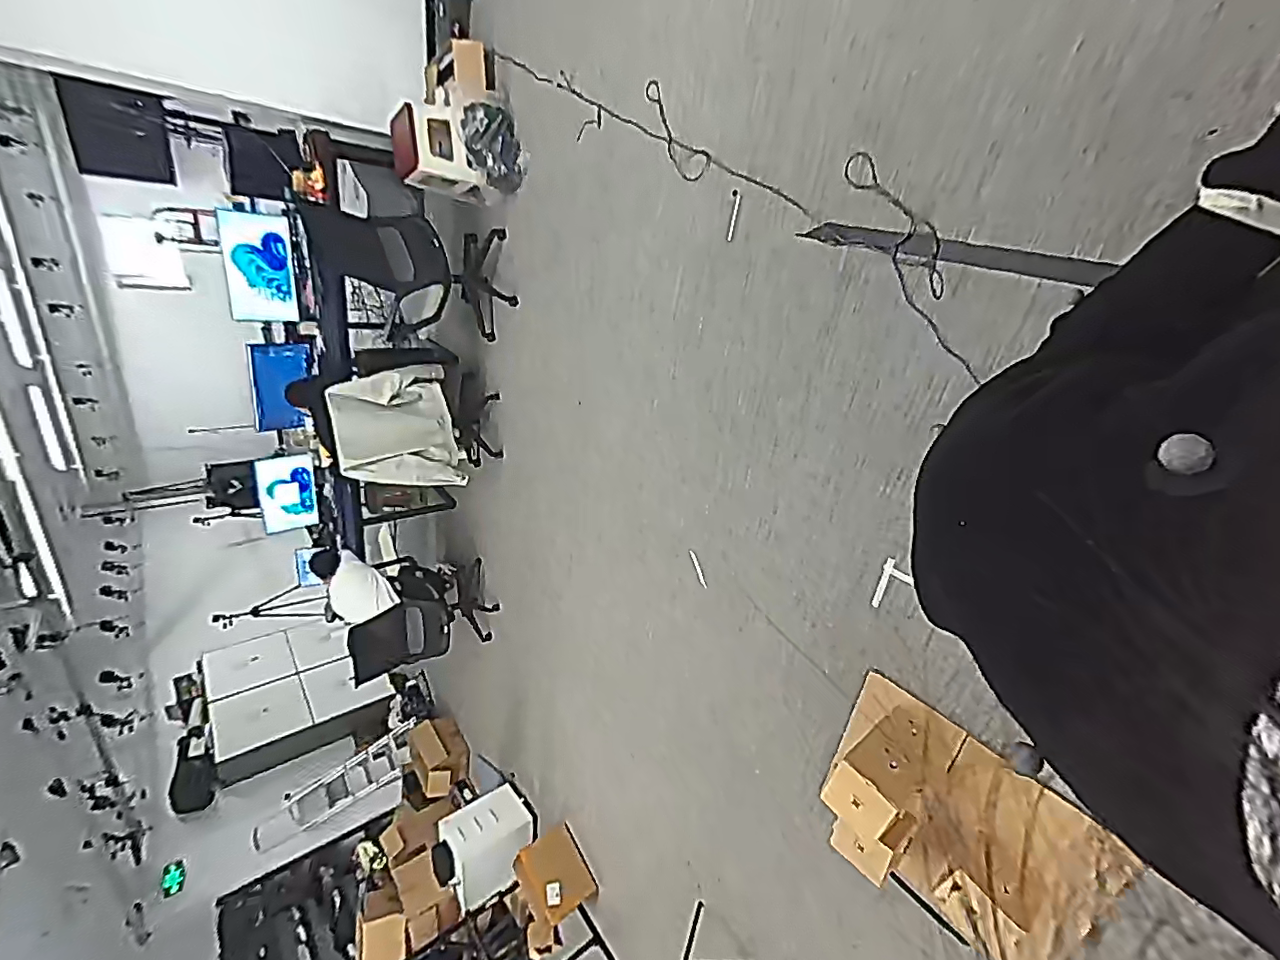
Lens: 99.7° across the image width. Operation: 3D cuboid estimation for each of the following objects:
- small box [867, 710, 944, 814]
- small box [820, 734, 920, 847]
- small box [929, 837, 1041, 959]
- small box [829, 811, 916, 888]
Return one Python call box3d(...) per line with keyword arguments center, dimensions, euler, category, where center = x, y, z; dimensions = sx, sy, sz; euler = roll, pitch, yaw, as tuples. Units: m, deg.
box3d(center=(0.757, 0.819, 1.583), dimensions=(0.168, 0.176, 0.179), euler=(32, 122, 41), category="small box")
box3d(center=(0.632, 0.844, 1.482), dimensions=(0.168, 0.176, 0.179), euler=(37, 125, 39), category="small box")
box3d(center=(0.927, 1.115, 1.450), dimensions=(0.179, 0.176, 0.168), euler=(41, 128, 35), category="small box")
box3d(center=(0.728, 1.105, 1.695), dimensions=(0.179, 0.176, 0.168), euler=(27, 121, 44), category="small box")
